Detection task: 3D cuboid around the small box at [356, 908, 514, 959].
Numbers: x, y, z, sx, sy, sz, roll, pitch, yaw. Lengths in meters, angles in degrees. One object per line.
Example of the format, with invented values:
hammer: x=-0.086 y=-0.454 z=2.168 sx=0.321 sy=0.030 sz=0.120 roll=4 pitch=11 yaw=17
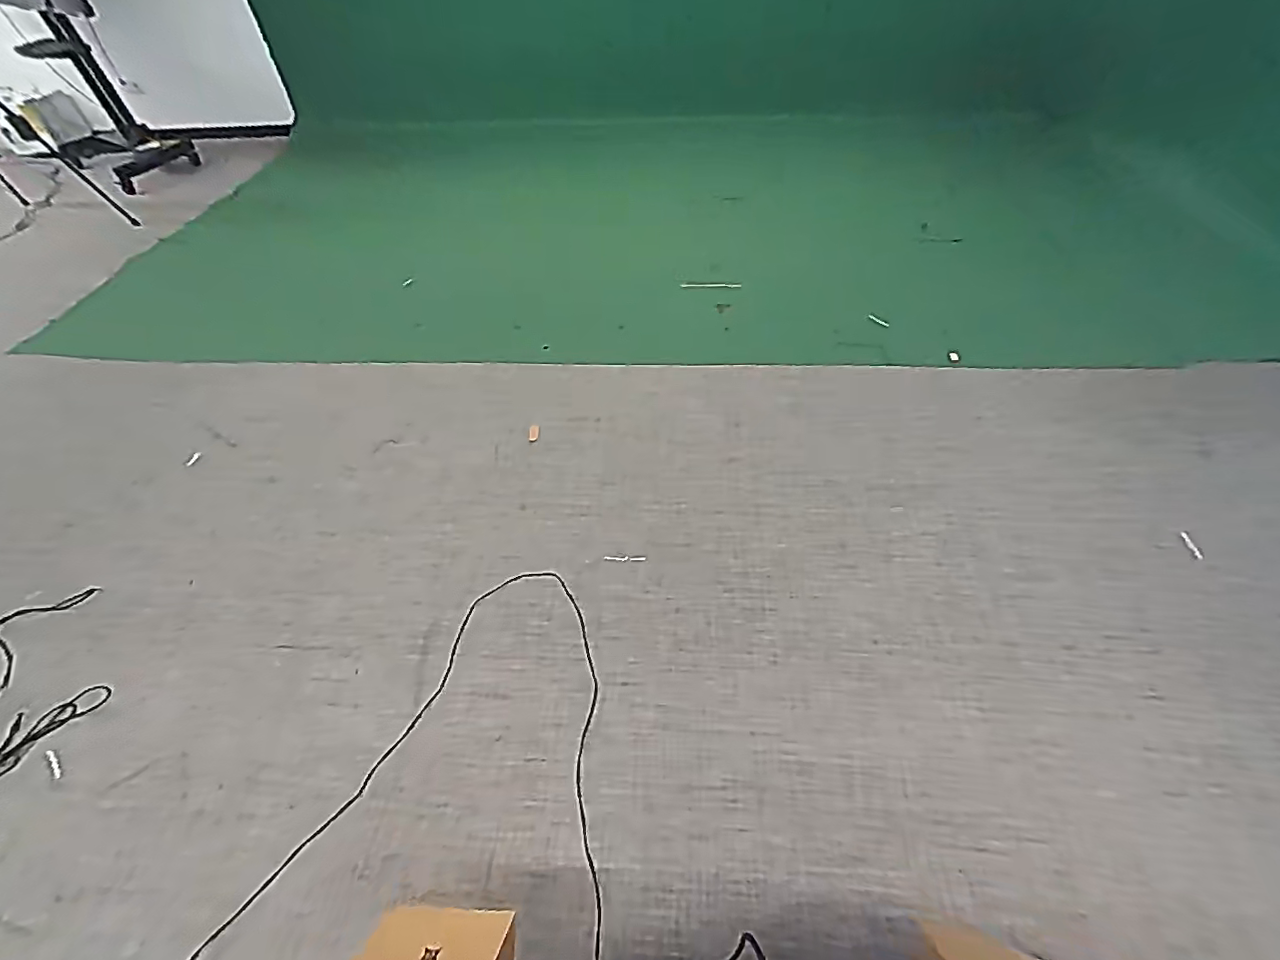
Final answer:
small box: x=-0.256 y=0.651 z=0.632 sx=0.168 sy=0.179 sz=0.176 roll=0 pitch=83 yaw=3
